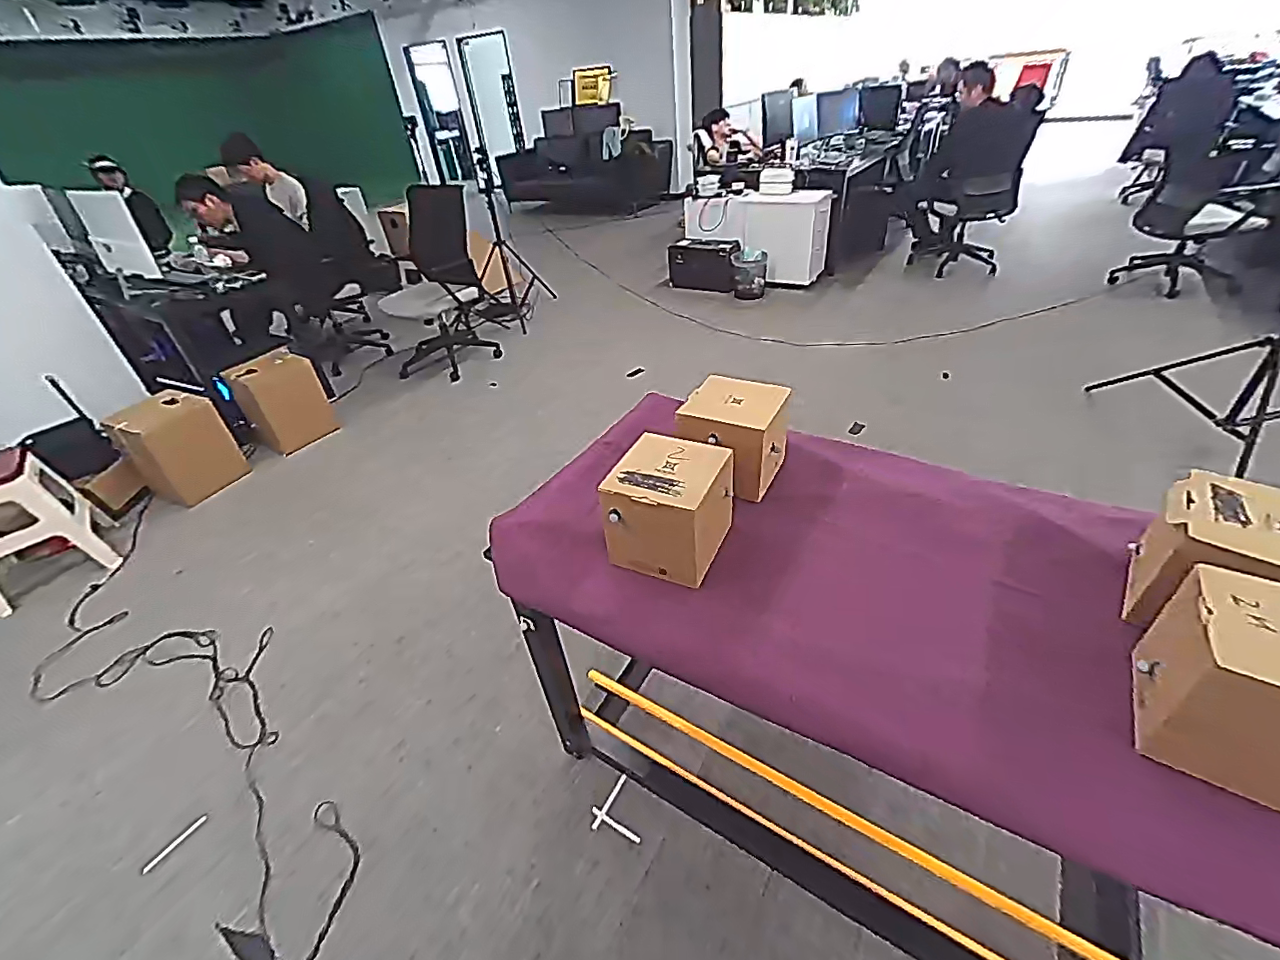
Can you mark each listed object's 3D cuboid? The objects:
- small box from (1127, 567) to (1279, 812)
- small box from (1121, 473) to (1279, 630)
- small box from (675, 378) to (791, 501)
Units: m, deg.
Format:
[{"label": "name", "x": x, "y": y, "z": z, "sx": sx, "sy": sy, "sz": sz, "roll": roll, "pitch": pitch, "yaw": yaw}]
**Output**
[{"label": "small box", "x": 0.678, "y": 0.231, "z": 0.588, "sx": 0.179, "sy": 0.176, "sz": 0.168, "roll": 18, "pitch": 41, "yaw": 30}, {"label": "small box", "x": 0.785, "y": 0.122, "z": 0.717, "sx": 0.179, "sy": 0.176, "sz": 0.168, "roll": 23, "pitch": 47, "yaw": 32}, {"label": "small box", "x": 0.185, "y": -0.081, "z": 1.077, "sx": 0.179, "sy": 0.176, "sz": 0.168, "roll": 15, "pitch": 42, "yaw": 25}]
